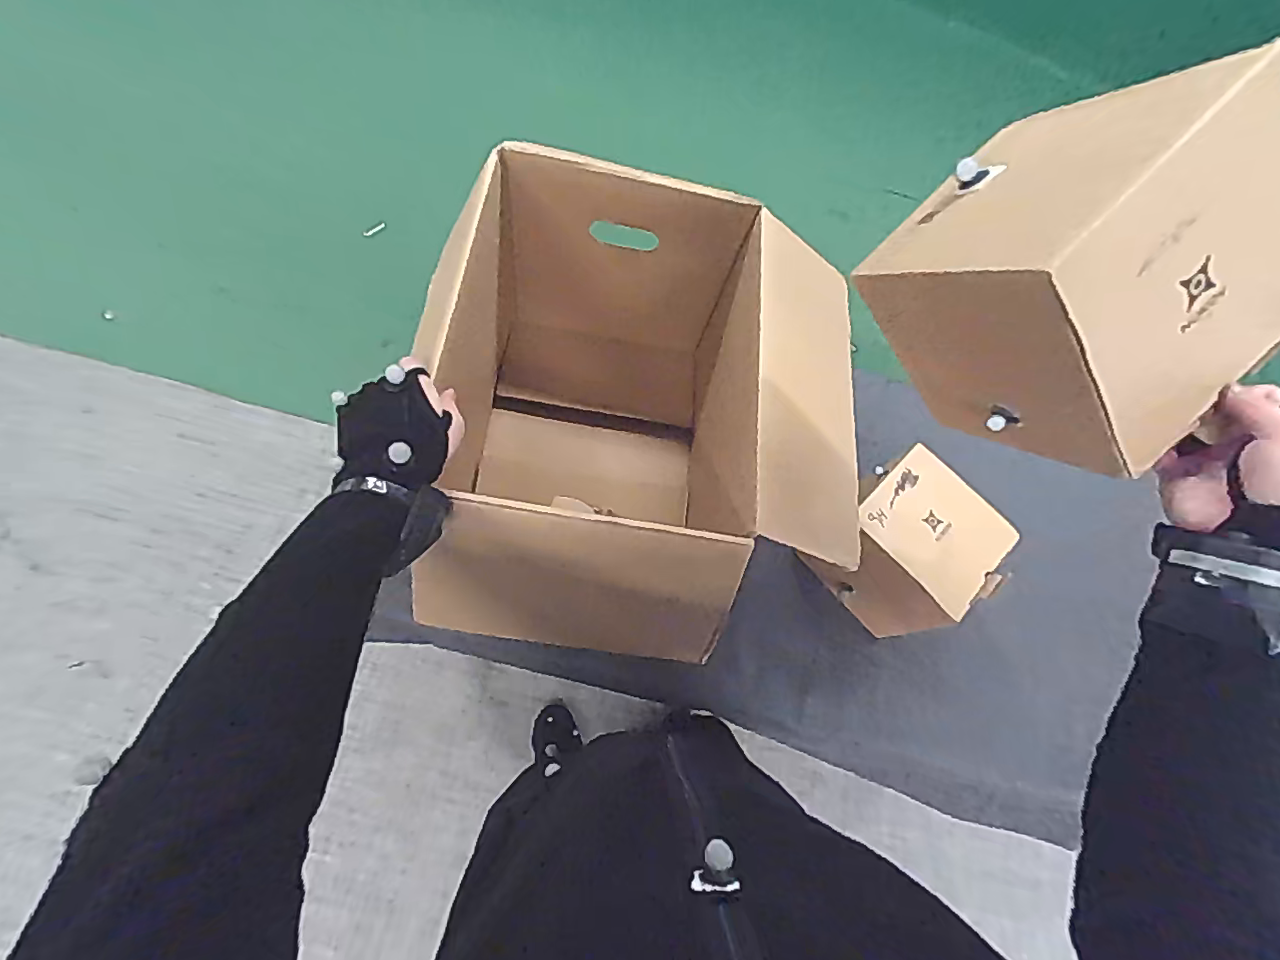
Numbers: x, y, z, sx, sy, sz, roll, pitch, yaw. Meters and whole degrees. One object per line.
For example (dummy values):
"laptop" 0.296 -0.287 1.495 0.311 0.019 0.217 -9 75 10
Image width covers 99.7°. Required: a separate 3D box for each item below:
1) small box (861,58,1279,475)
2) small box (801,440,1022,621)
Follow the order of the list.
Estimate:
"small box" 0.304 -0.138 0.392 0.168 0.176 0.179 -45 114 2
"small box" 0.366 0.080 0.758 0.168 0.176 0.179 -38 80 -19
